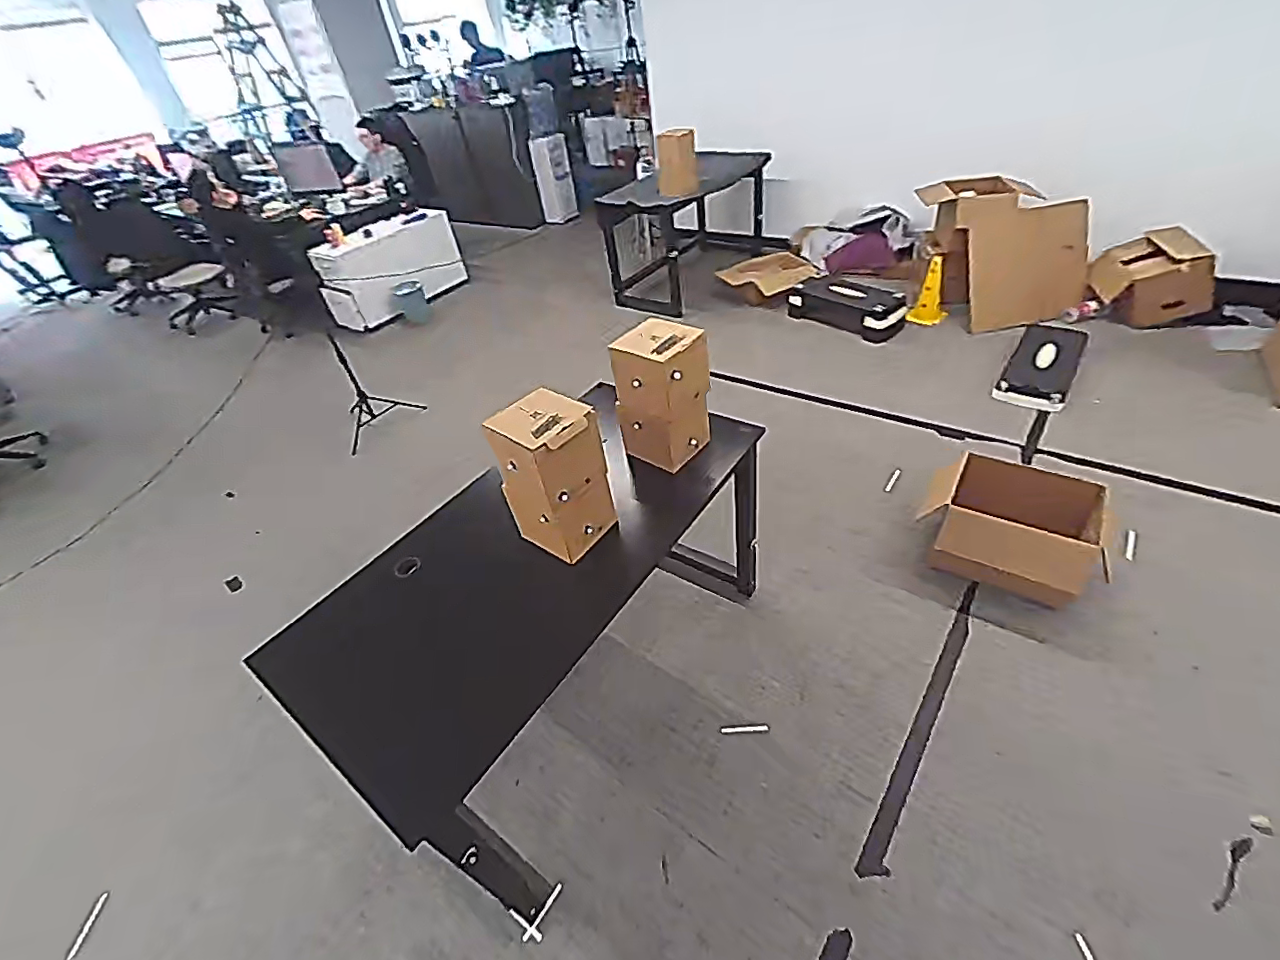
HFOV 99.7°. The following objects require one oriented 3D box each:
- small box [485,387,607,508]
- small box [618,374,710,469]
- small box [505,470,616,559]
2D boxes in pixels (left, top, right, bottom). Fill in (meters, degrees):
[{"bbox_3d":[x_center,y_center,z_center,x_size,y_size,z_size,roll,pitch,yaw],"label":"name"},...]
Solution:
[{"bbox_3d":[-0.191,-0.066,1.143,0.179,0.176,0.168,27,52,35],"label":"small box"},{"bbox_3d":[0.070,-0.153,1.435,0.179,0.176,0.168,26,53,34],"label":"small box"},{"bbox_3d":[-0.177,0.054,1.254,0.179,0.176,0.168,22,50,31],"label":"small box"}]
